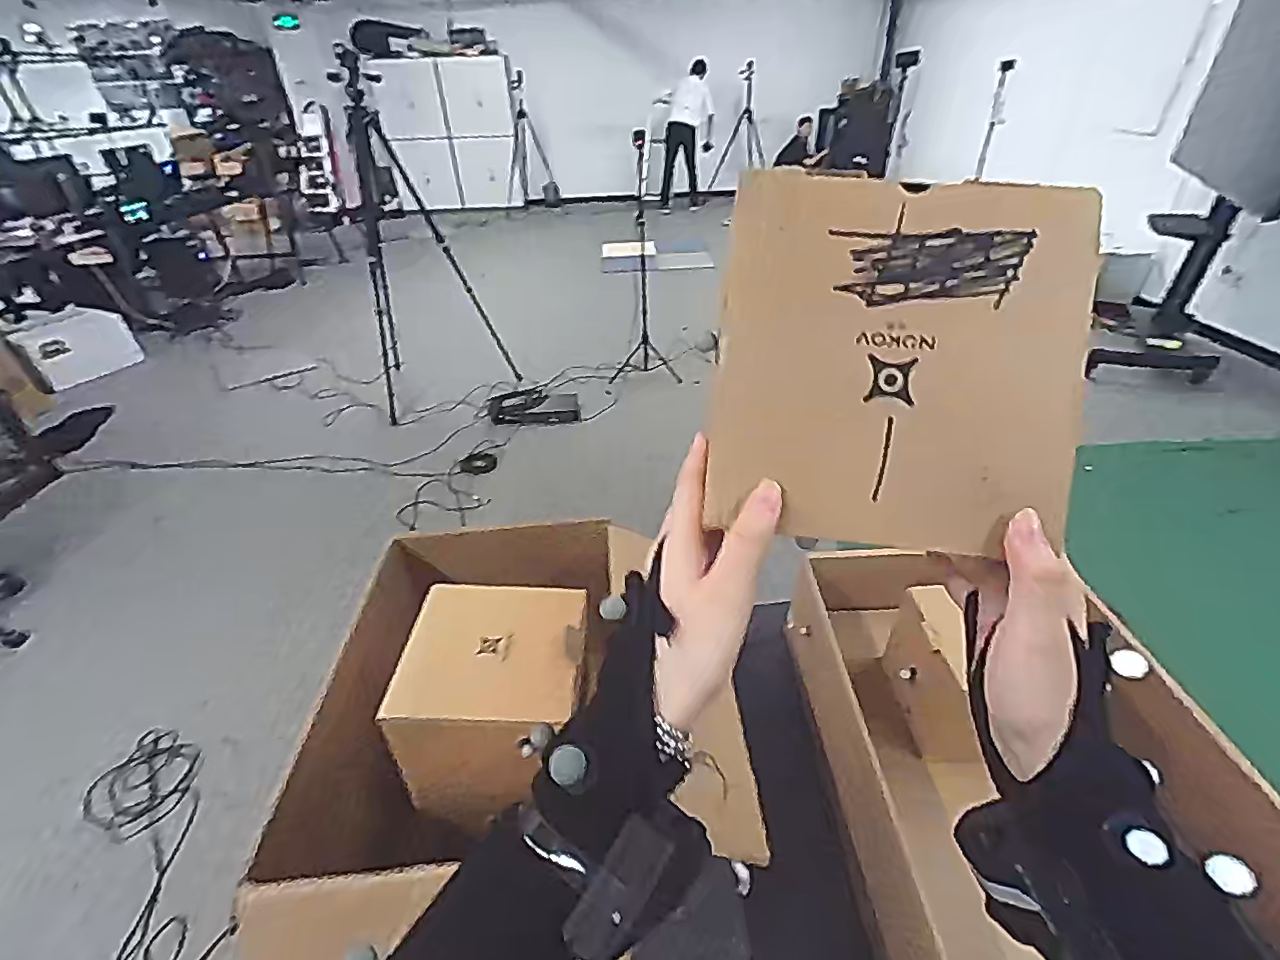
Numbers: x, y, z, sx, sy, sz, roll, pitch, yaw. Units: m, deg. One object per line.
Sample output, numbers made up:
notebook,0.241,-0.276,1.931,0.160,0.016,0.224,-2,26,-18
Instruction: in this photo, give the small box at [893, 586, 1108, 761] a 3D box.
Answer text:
small box,0.467,0.265,0.741,0.179,0.176,0.168,-2,37,3

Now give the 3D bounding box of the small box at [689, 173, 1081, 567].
small box,0.121,-0.054,0.336,0.168,0.179,0.176,6,1,5
